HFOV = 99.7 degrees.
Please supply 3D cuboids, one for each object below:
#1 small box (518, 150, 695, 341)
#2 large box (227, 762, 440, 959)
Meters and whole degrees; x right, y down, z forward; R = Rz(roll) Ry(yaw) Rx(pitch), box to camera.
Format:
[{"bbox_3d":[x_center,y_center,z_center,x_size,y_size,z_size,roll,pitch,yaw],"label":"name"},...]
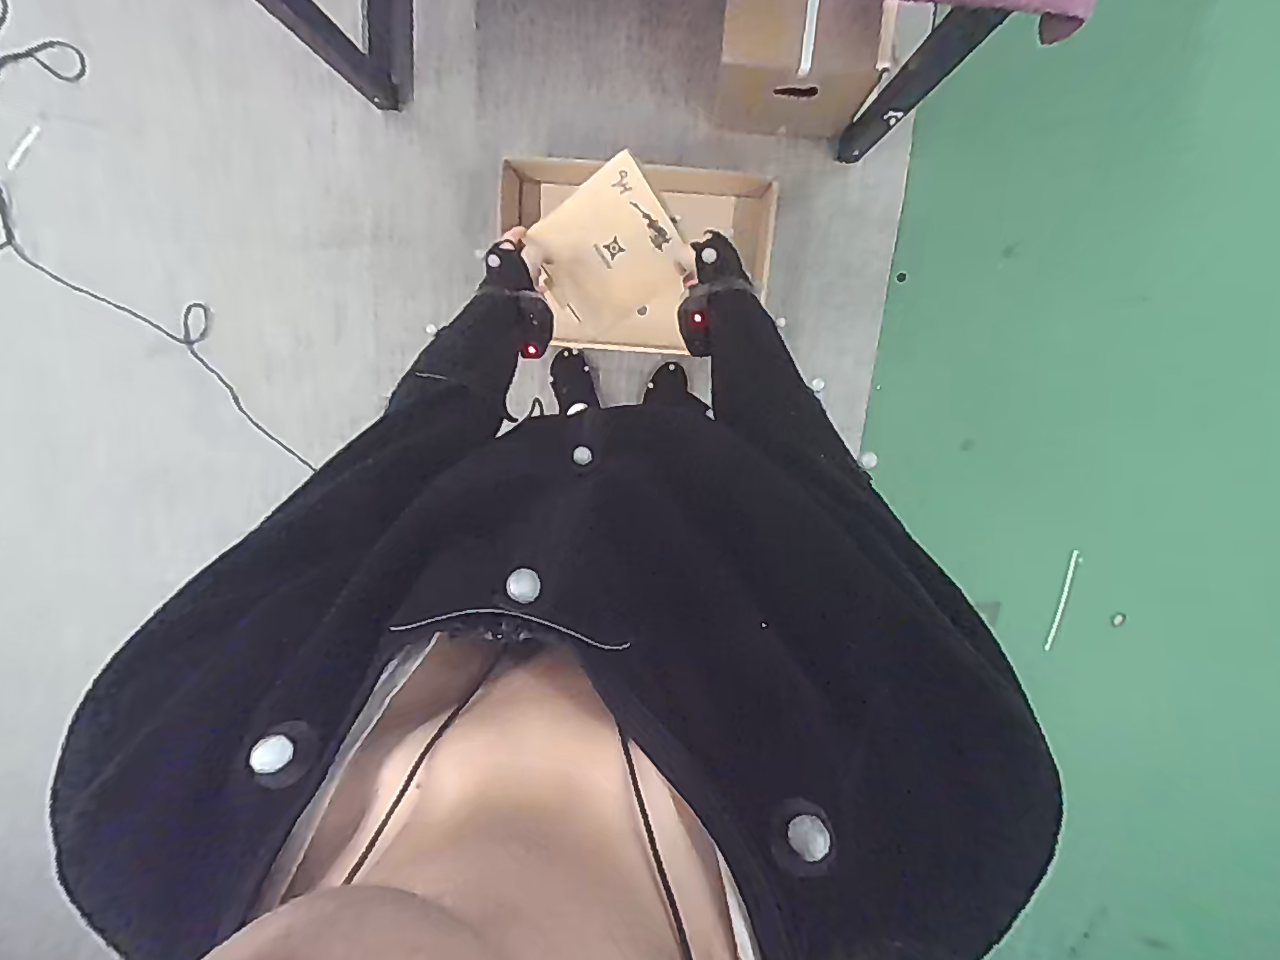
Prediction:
[{"bbox_3d":[-0.035,-0.325,0.767,0.179,0.176,0.168,-30,108,20],"label":"small box"},{"bbox_3d":[-0.901,1.161,1.640,0.408,0.320,0.320,34,101,-4],"label":"large box"}]
